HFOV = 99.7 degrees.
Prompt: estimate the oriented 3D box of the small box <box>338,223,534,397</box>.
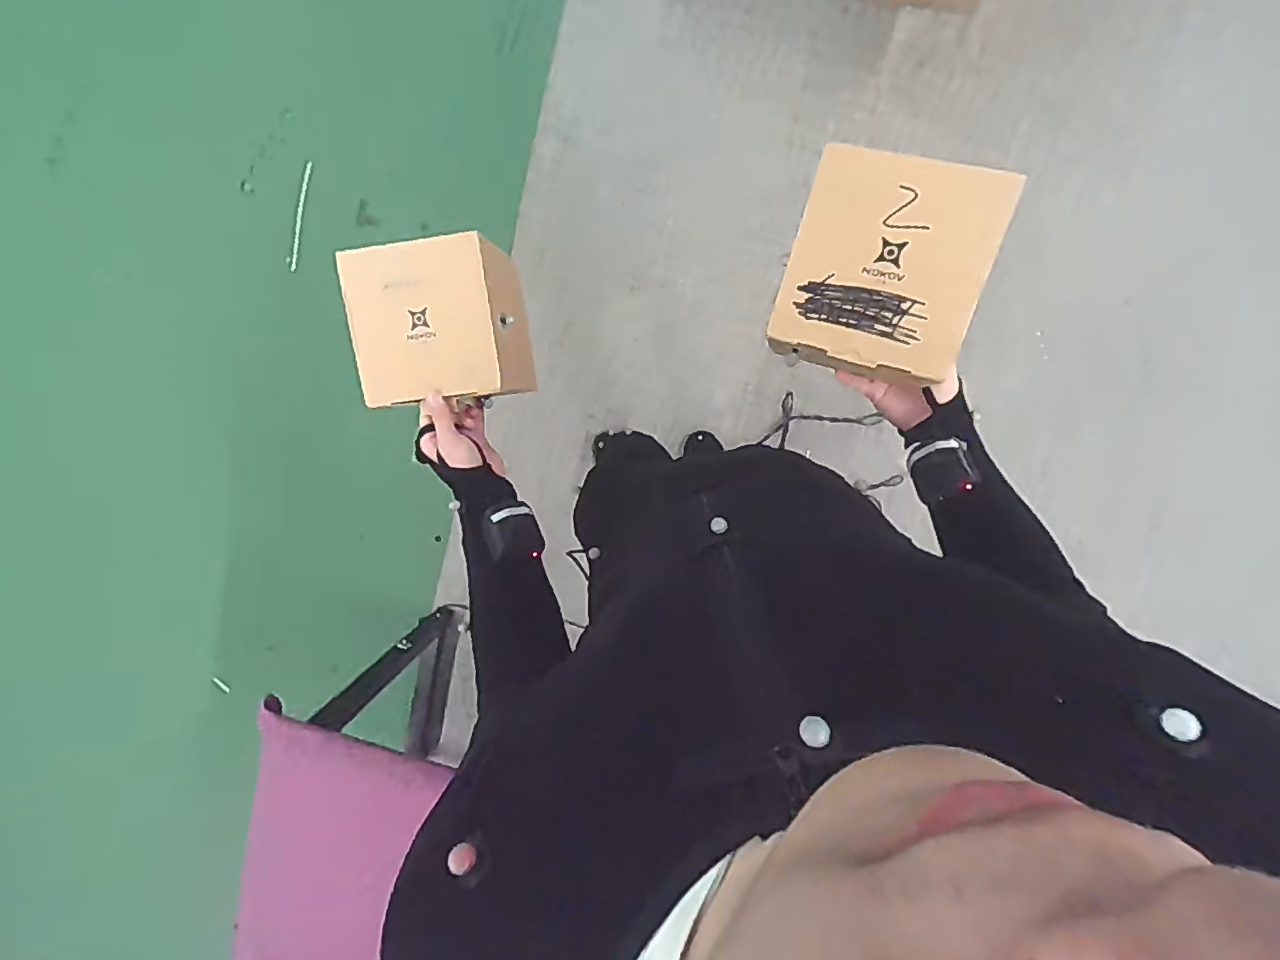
[{"bbox_3d":[-0.238,-0.199,0.677,0.168,0.176,0.179,-5,99,4],"label":"small box"}]
